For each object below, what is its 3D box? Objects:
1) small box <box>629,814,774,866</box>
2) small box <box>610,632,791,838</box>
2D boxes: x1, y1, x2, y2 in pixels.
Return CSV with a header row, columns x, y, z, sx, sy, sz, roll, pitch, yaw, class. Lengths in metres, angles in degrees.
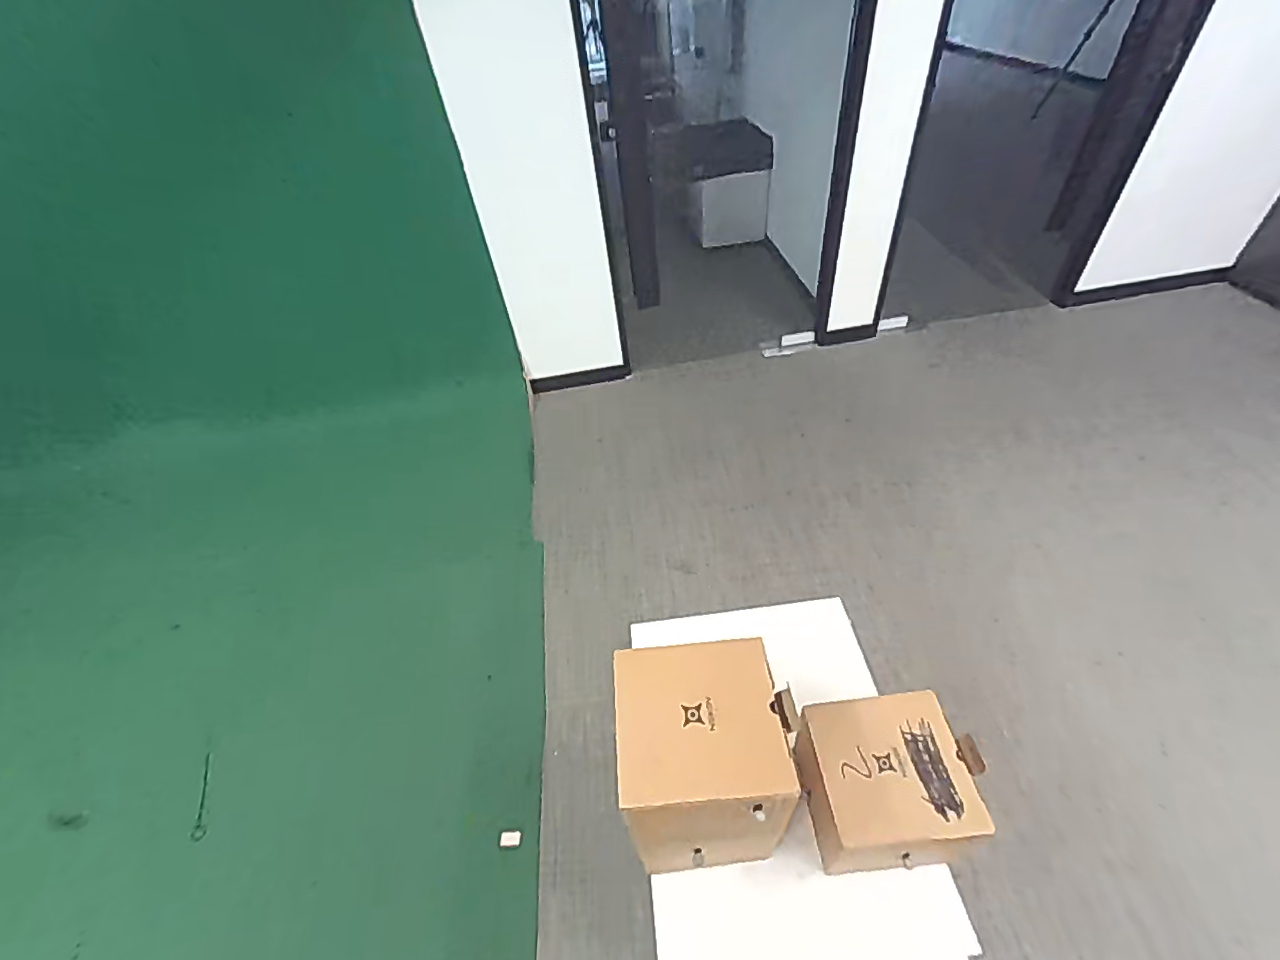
x,y,z,sx,sy,sz,roll,pitch,yaw,class
0.074,0.413,0.748,0.179,0.176,0.168,-8,45,-1,small box
0.062,0.299,0.631,0.179,0.176,0.168,-5,44,-1,small box
